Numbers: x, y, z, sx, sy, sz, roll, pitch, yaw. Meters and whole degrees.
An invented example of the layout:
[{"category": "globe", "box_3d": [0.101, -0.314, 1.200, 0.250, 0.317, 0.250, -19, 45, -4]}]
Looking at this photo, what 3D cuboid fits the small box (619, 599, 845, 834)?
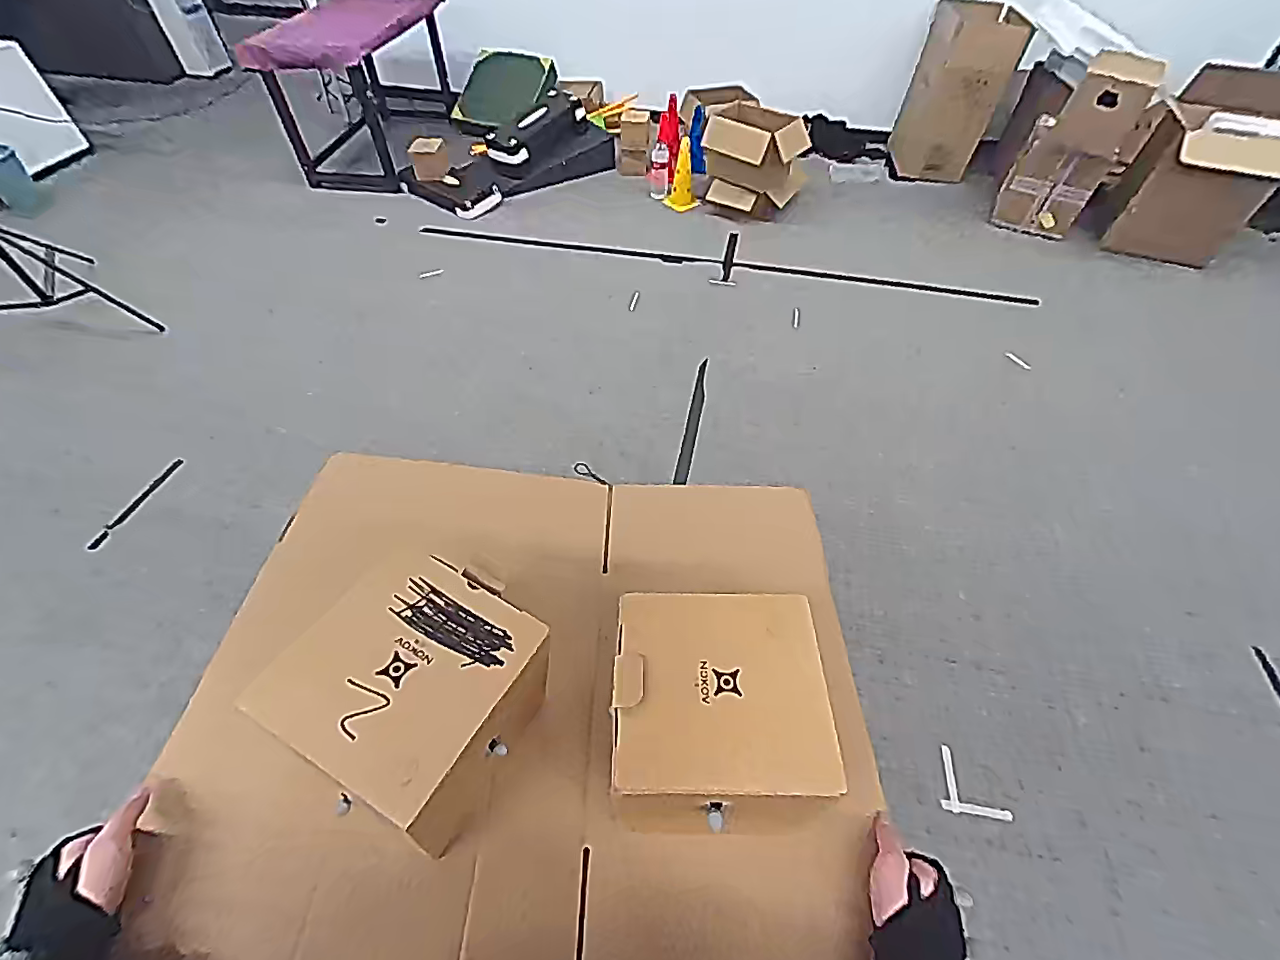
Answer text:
[{"category": "small box", "box_3d": [0.072, 0.230, 0.522, 0.179, 0.176, 0.168, 0, 48, 1]}]
